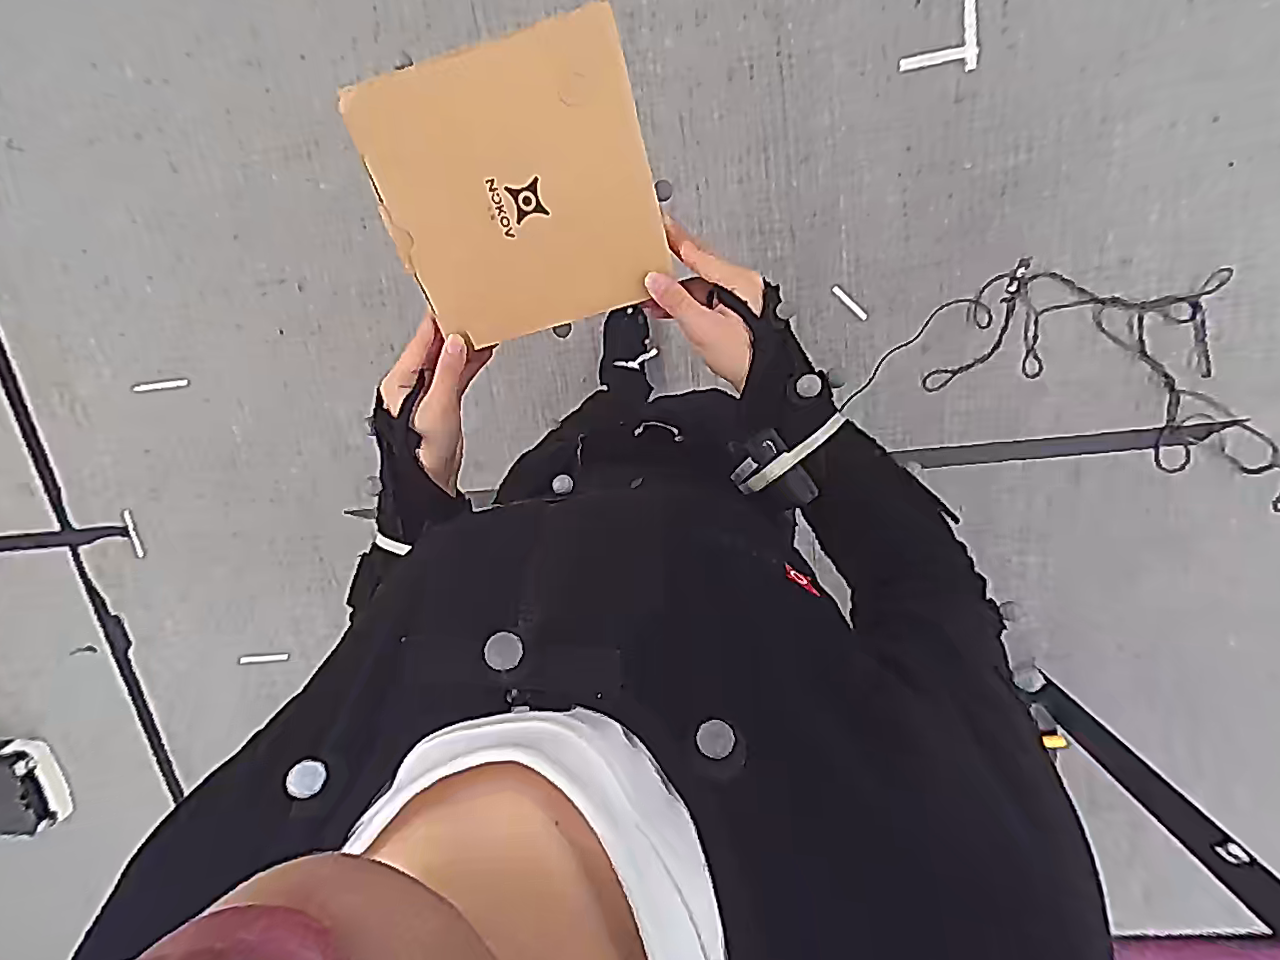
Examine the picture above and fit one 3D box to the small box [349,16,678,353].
[{"bbox_3d":[-0.078,-0.222,0.426,0.179,0.176,0.168,-13,119,7],"label":"small box"}]
